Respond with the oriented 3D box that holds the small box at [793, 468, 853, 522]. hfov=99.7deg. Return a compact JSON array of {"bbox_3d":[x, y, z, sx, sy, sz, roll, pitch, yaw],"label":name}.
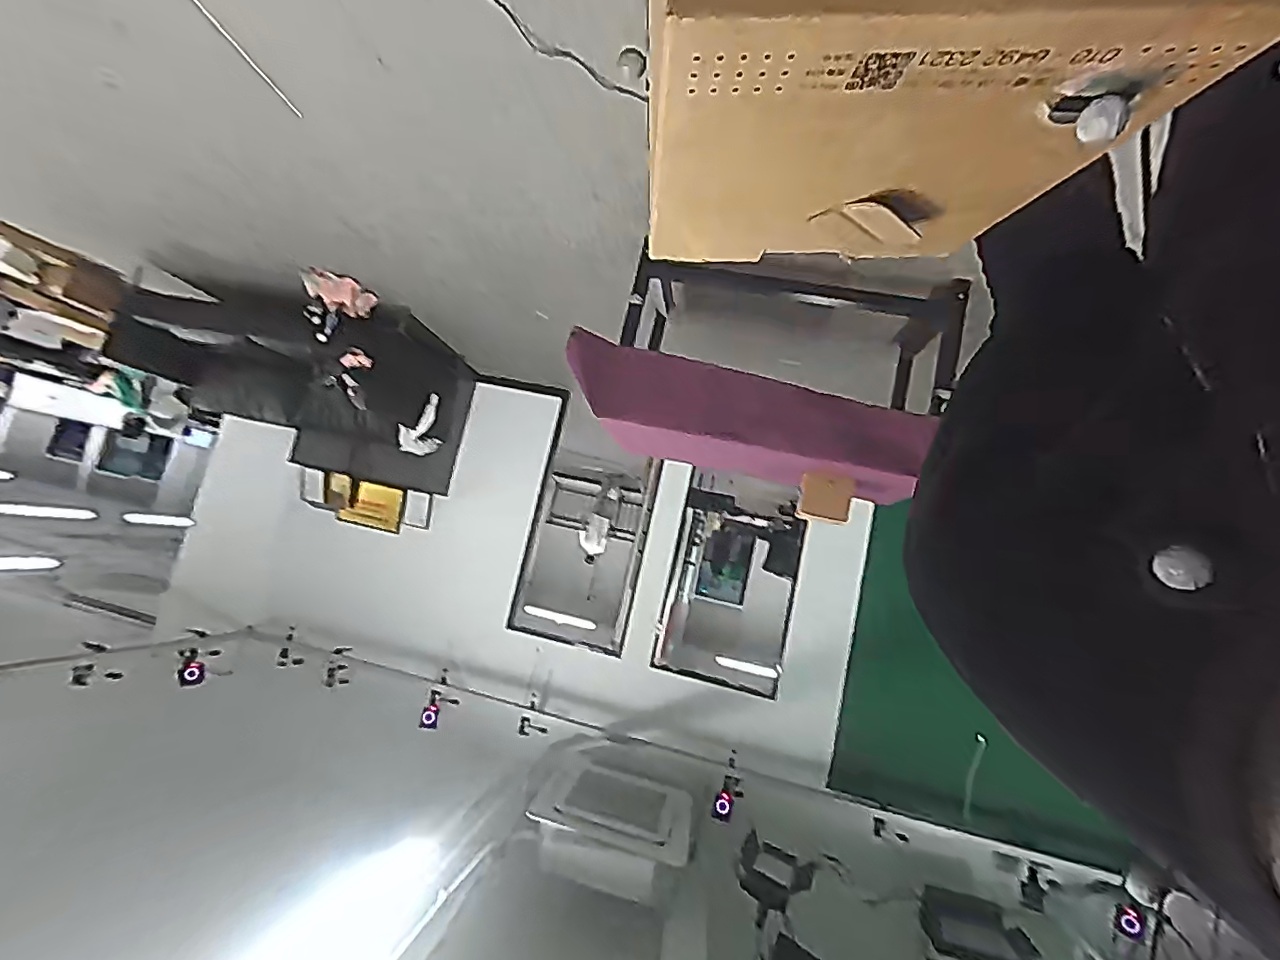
[{"bbox_3d":[0.708,0.055,2.101,0.179,0.176,0.168,12,173,11],"label":"small box"}]
